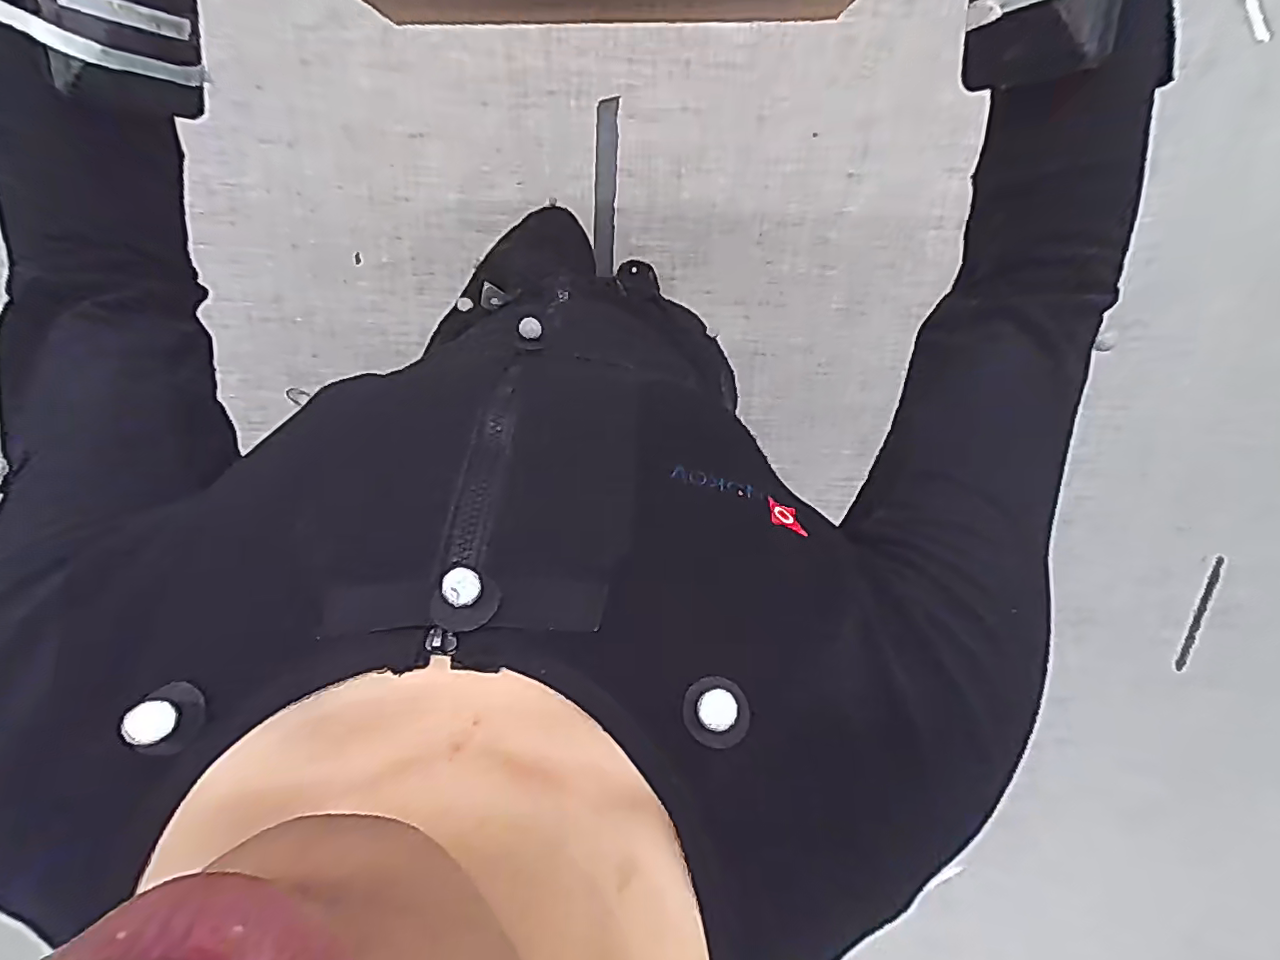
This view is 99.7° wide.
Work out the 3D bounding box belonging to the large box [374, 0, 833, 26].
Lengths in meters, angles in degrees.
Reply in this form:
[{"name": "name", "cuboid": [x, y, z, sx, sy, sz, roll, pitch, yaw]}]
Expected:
[{"name": "large box", "cuboid": [-0.028, -0.489, 0.291, 0.408, 0.320, 0.320, -1, 118, 1]}]
